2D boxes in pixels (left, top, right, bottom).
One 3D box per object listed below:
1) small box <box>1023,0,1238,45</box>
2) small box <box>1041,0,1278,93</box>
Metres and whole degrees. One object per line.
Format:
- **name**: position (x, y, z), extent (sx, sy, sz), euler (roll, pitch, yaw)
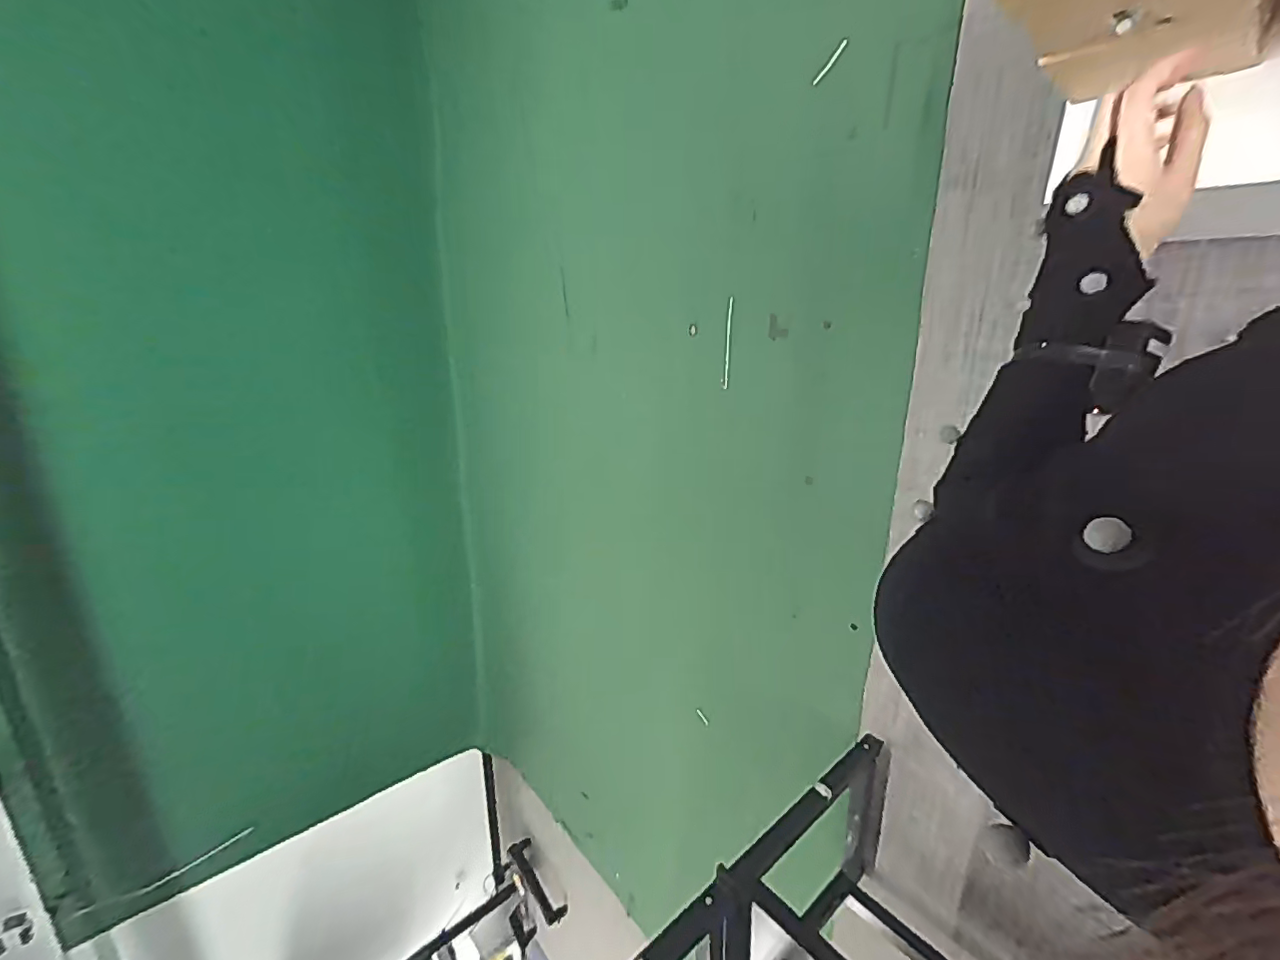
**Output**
- **small box**: position (0.432, -0.512, 0.450), extent (0.168, 0.176, 0.179), euler (22, 117, 45)
- **small box**: position (0.553, -0.539, 0.558), extent (0.168, 0.176, 0.179), euler (21, 117, 45)
